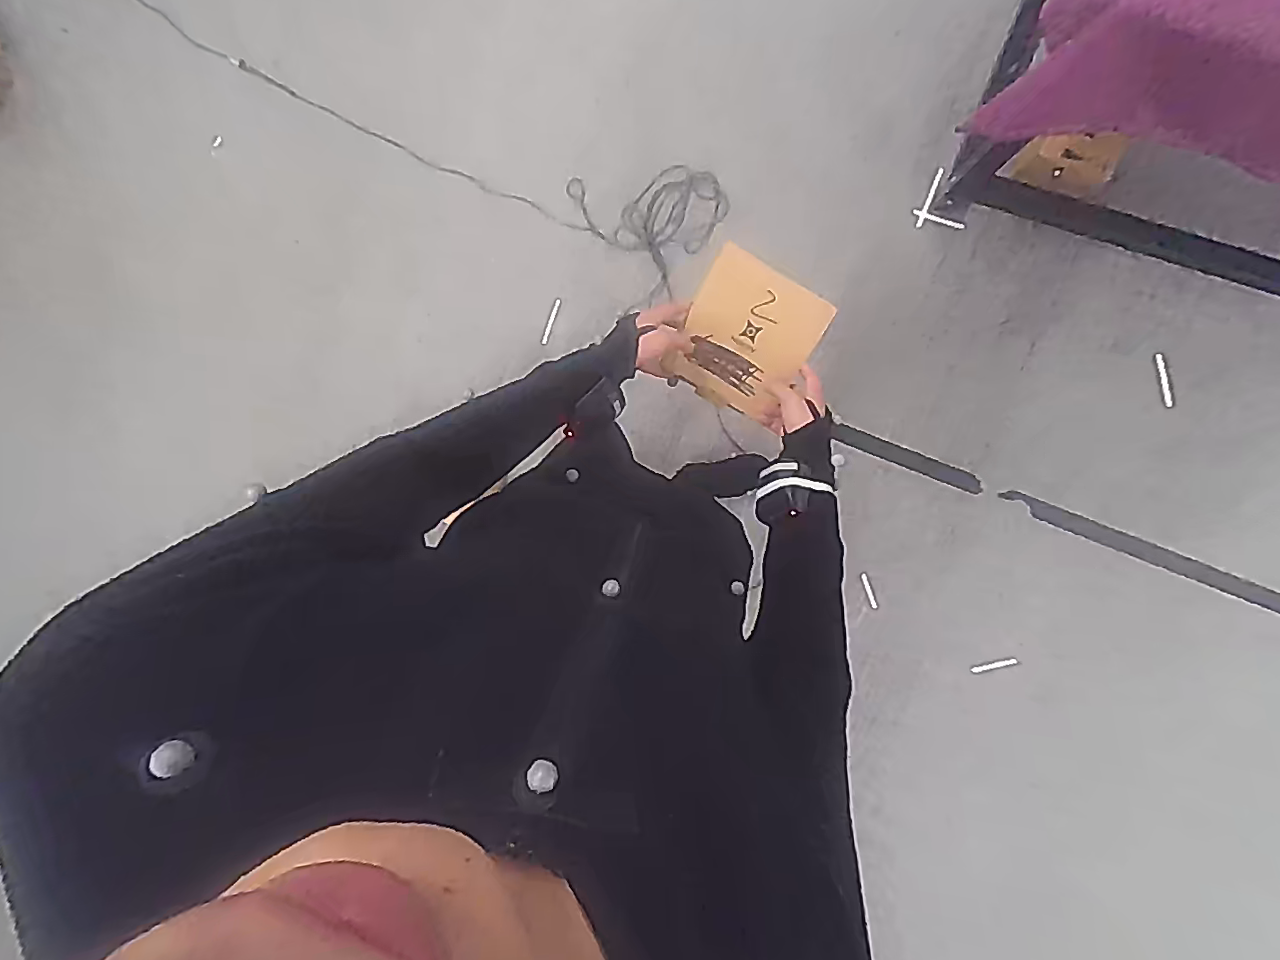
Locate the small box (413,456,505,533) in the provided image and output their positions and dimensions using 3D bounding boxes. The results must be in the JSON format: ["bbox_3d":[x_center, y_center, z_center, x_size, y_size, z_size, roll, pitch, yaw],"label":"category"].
[{"bbox_3d":[-0.538,0.036,1.626,0.179,0.176,0.168,26,101,5],"label":"small box"}]
